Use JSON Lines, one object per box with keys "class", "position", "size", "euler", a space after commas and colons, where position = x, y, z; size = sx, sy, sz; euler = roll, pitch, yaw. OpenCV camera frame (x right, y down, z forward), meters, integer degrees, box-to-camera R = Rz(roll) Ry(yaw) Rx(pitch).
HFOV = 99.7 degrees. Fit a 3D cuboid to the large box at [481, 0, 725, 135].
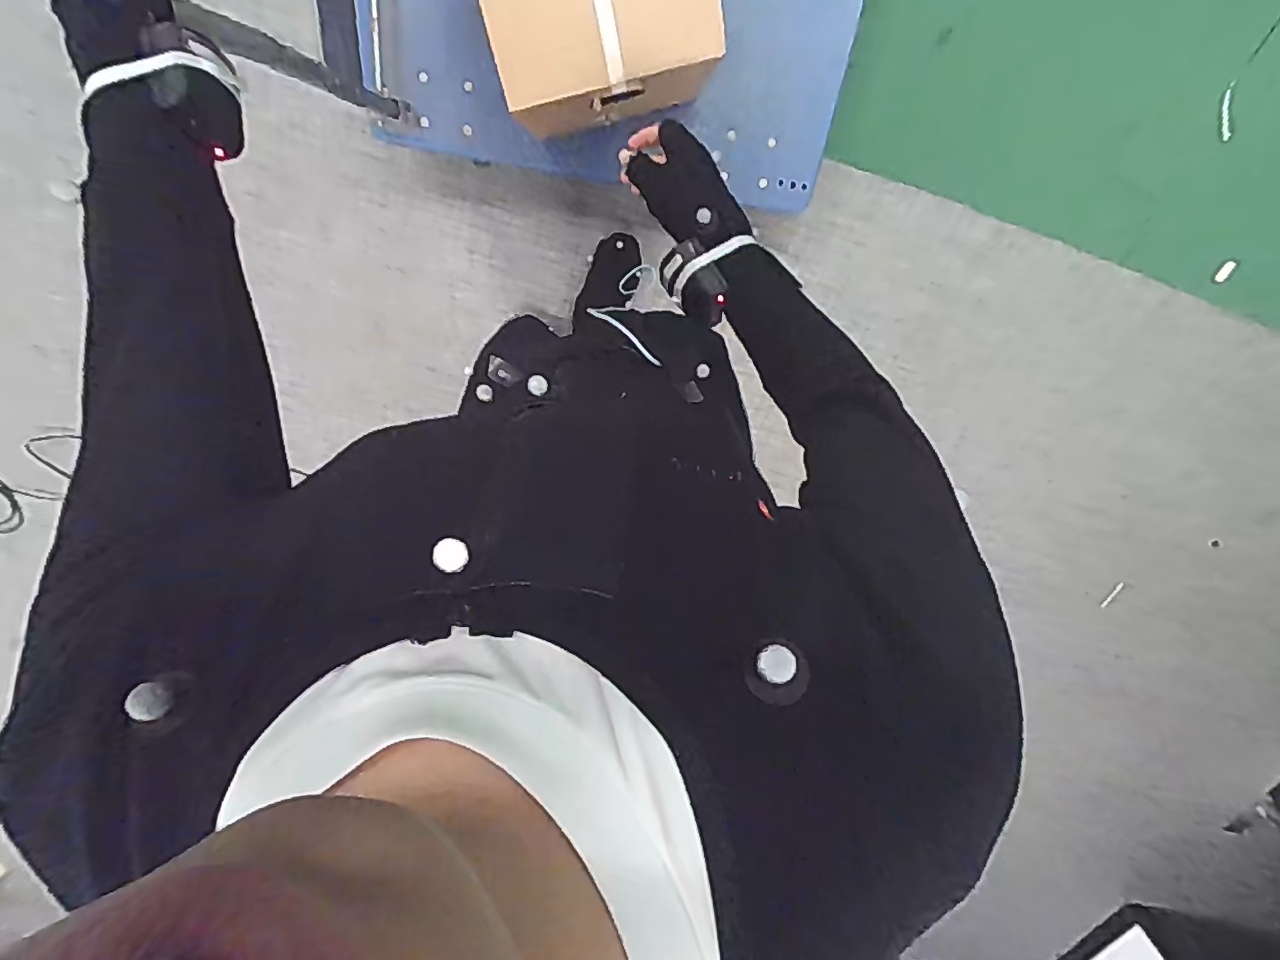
{"class": "large box", "position": [-0.074, -0.793, 0.797], "size": [0.320, 0.320, 0.408], "euler": [-11, 116, 4]}
